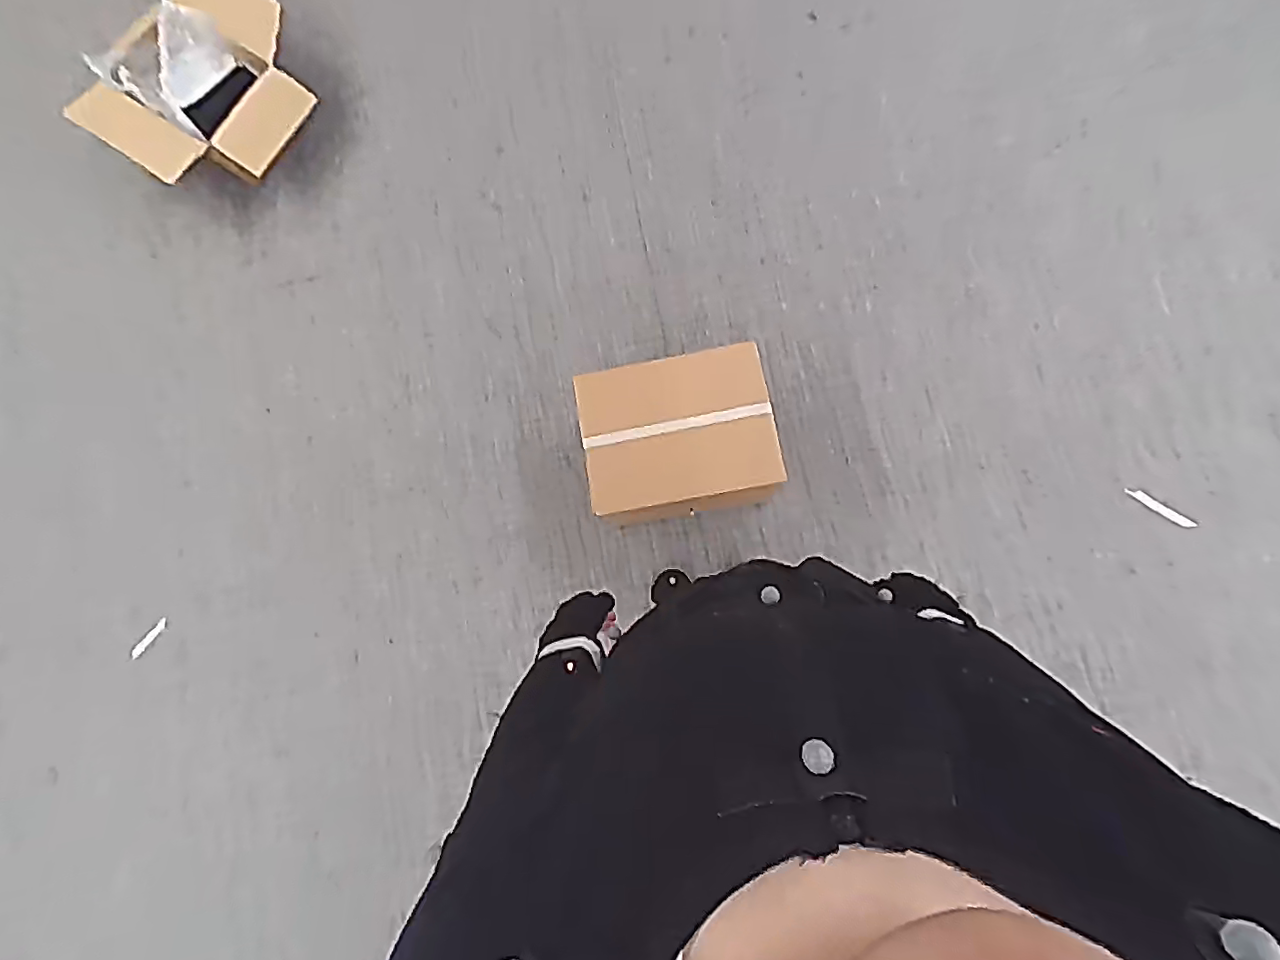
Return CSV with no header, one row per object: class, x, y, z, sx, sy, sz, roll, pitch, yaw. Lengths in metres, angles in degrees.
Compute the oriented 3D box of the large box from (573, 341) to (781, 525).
large box,0.084,-0.090,1.295,0.408,0.320,0.320,-10,80,3
